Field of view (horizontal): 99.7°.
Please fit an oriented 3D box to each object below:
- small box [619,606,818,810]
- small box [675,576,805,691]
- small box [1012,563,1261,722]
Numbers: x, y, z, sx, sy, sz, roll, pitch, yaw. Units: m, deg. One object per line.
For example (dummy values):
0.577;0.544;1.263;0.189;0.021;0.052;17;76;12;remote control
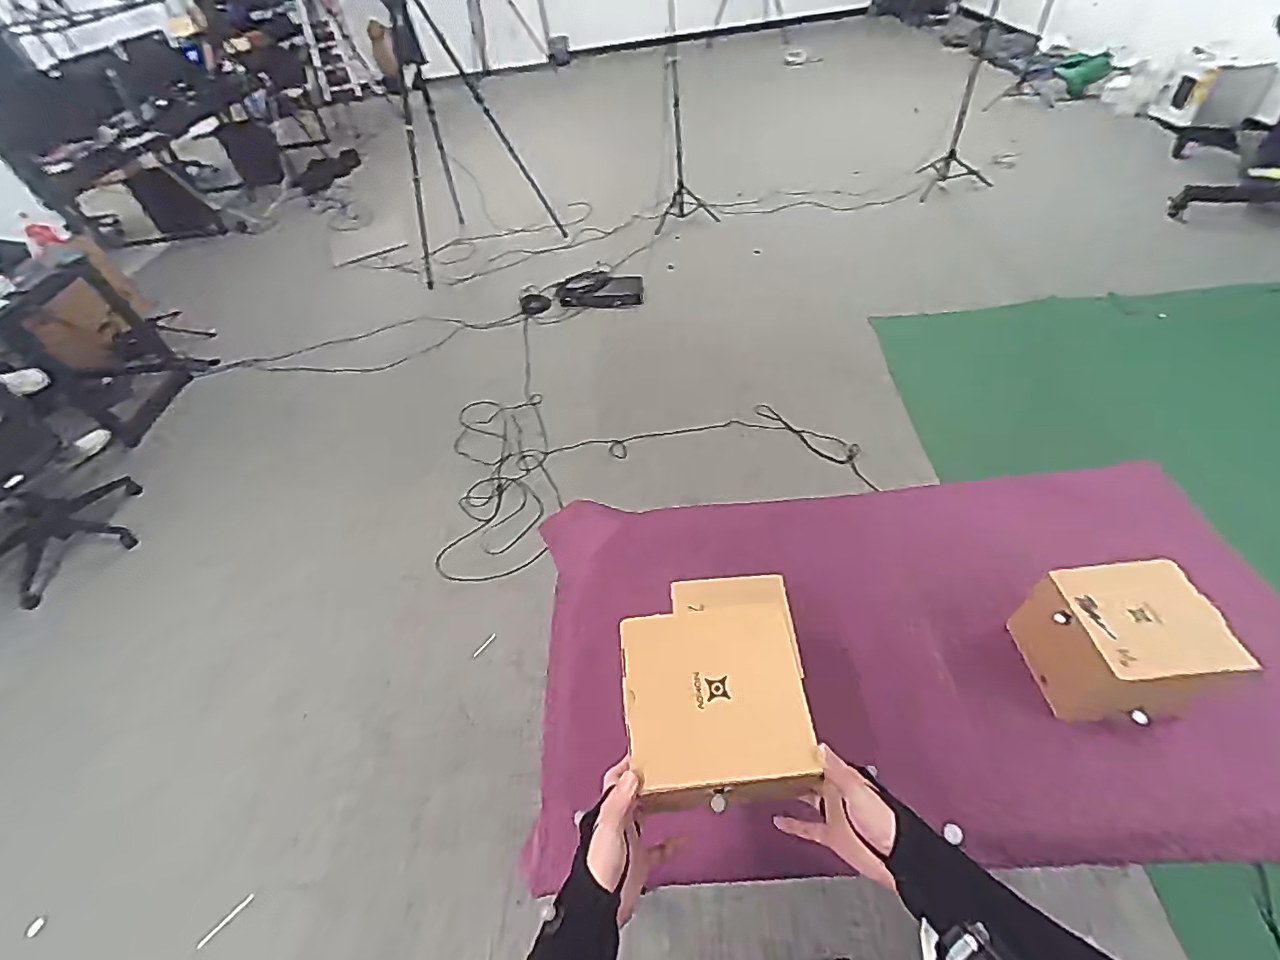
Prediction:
0.077;0.257;0.599;0.179;0.176;0.168;-8;53;3;small box
0.149;0.270;0.856;0.179;0.176;0.168;-5;48;5;small box
0.699;0.240;0.792;0.179;0.176;0.168;-6;48;4;small box
